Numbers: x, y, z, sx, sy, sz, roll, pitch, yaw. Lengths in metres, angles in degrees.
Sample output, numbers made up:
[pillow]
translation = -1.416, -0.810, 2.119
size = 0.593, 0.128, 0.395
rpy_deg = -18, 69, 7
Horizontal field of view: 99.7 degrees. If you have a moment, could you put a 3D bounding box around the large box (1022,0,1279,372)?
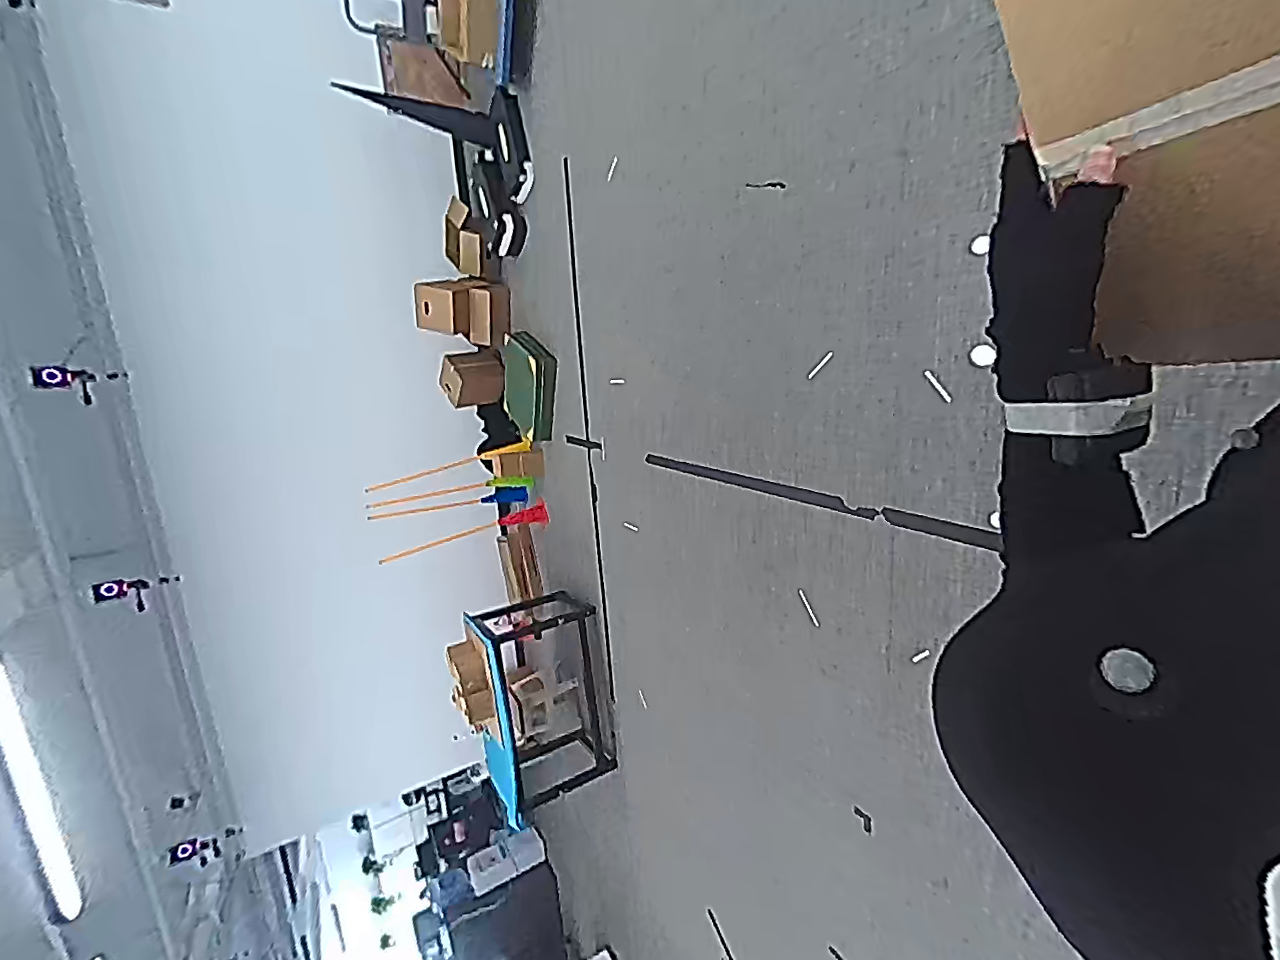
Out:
[large box]
translation = 0.467, -0.271, 0.218
size = 0.320, 0.320, 0.408
rpy_deg = 54, 161, -23
